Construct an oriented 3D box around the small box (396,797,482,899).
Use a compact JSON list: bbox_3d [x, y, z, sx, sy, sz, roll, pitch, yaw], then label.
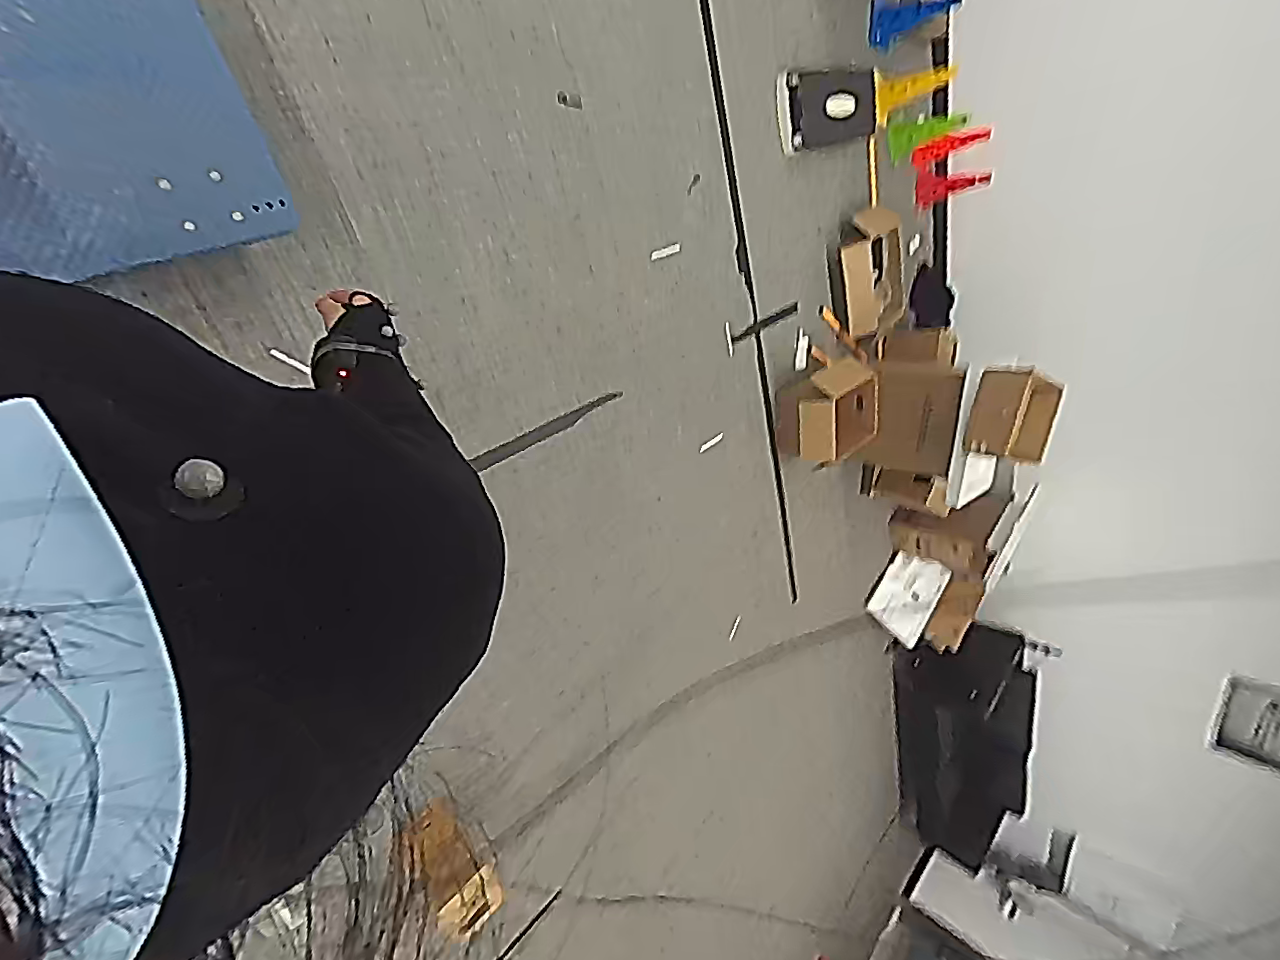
[{"bbox_3d":[-0.636,1.154,1.709,0.168,0.176,0.179,-35,122,-32],"label":"small box"}]
